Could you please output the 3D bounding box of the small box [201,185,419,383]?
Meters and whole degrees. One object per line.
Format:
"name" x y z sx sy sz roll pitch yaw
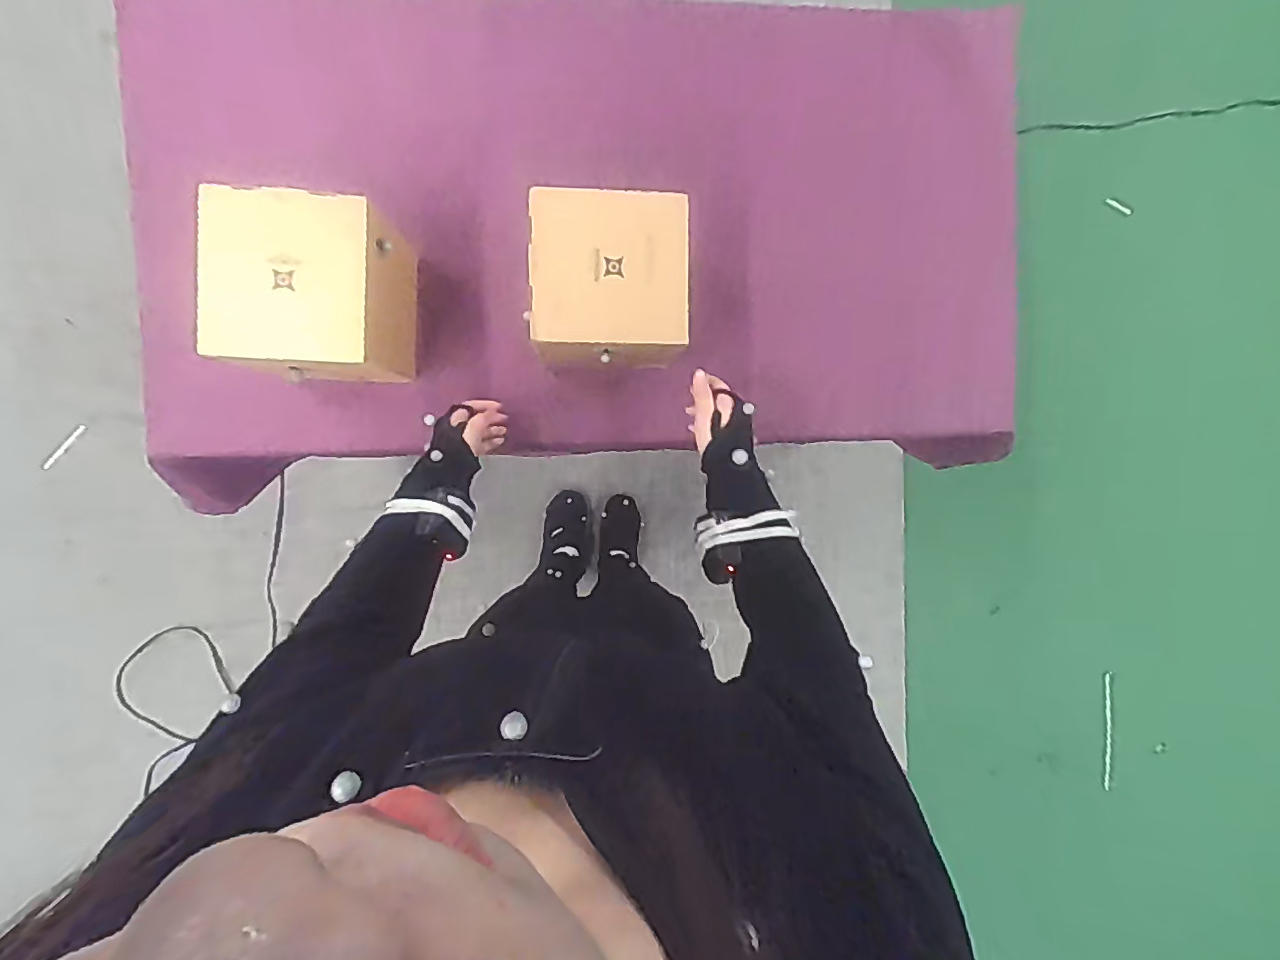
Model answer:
"small box" -0.372 -0.215 0.640 0.168 0.176 0.179 2 91 -5

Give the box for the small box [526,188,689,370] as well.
"small box" -0.041 -0.233 0.668 0.179 0.176 0.168 1 92 -5
